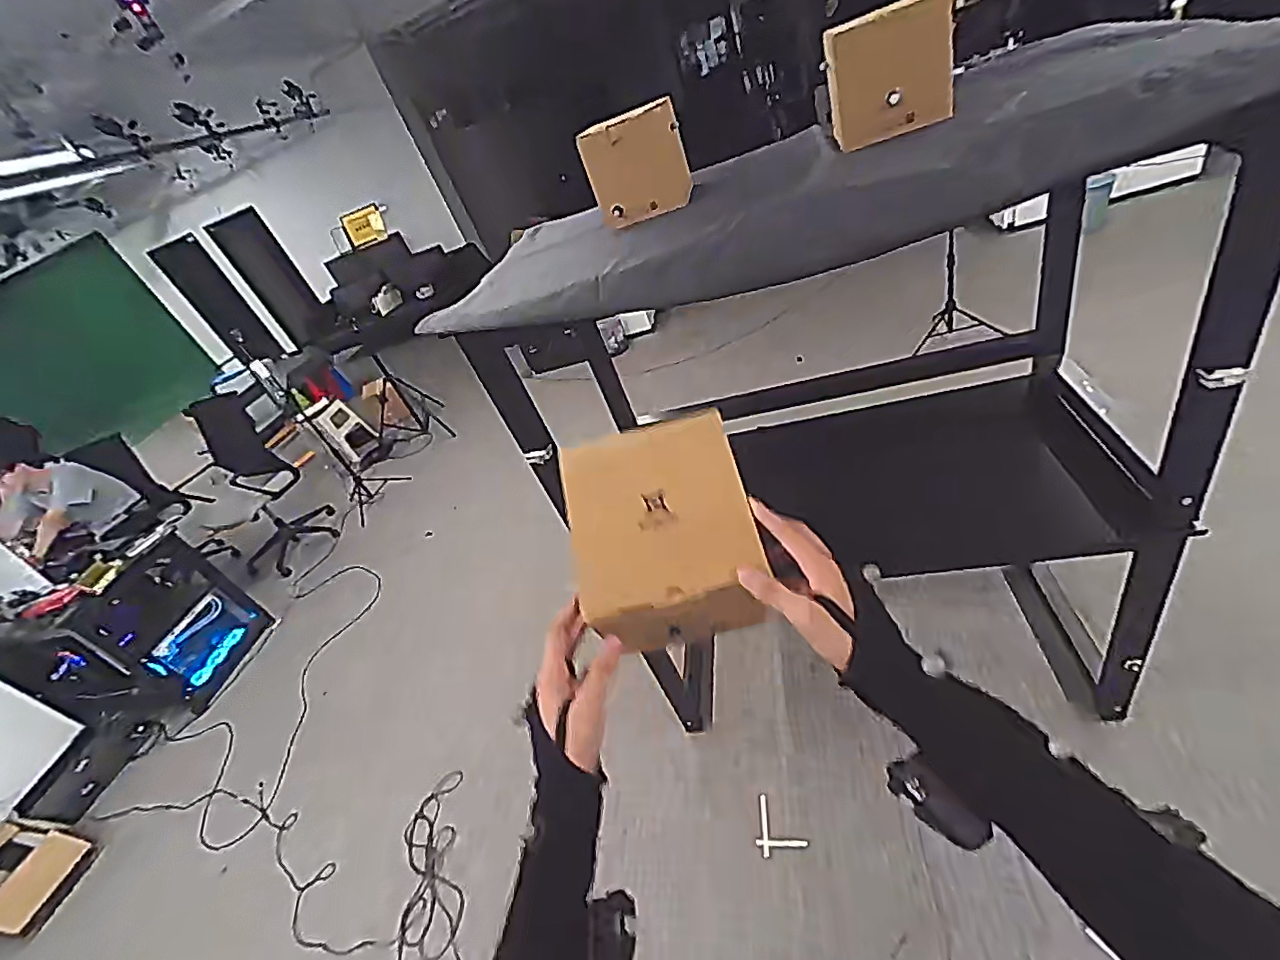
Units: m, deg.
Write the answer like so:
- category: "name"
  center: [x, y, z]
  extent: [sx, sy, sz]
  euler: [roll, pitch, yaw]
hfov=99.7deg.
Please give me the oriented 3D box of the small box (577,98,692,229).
- category: "small box"
  center: [-0.002, -0.614, 1.061]
  extent: [0.168, 0.176, 0.179]
  euler: [-10, 36, 18]

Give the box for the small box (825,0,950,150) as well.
- category: "small box"
  center: [0.410, -0.681, 0.909]
  extent: [0.168, 0.176, 0.179]
  euler: [-9, 37, 21]

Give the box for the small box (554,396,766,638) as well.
- category: "small box"
  center: [0.021, 0.047, 0.558]
  extent: [0.168, 0.176, 0.179]
  euler: [-15, 62, 3]
